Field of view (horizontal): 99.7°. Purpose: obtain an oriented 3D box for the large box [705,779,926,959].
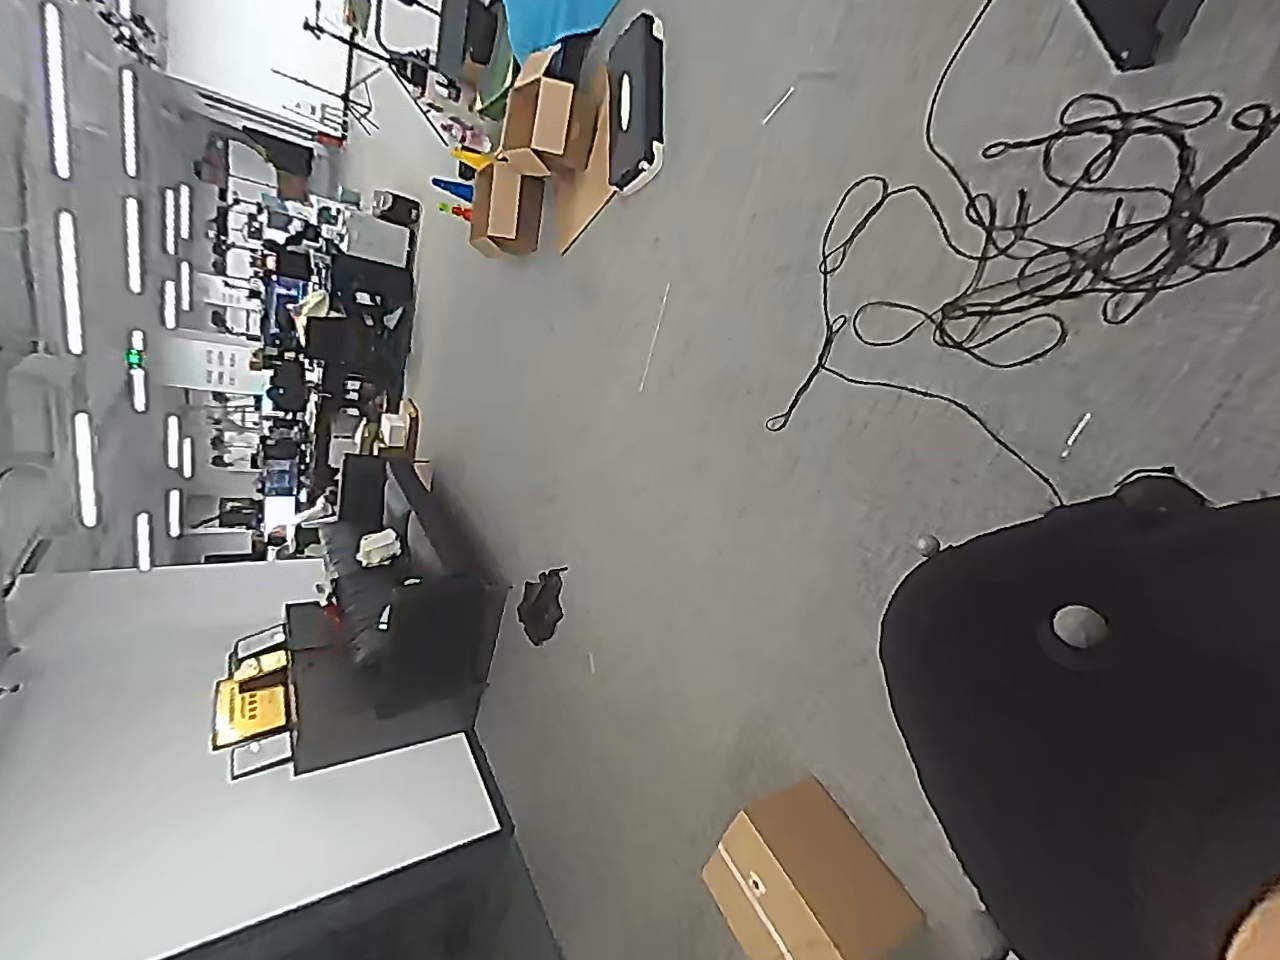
[{"bbox_3d":[0.452,1.113,1.450,0.408,0.320,0.320,47,124,45],"label":"large box"}]
